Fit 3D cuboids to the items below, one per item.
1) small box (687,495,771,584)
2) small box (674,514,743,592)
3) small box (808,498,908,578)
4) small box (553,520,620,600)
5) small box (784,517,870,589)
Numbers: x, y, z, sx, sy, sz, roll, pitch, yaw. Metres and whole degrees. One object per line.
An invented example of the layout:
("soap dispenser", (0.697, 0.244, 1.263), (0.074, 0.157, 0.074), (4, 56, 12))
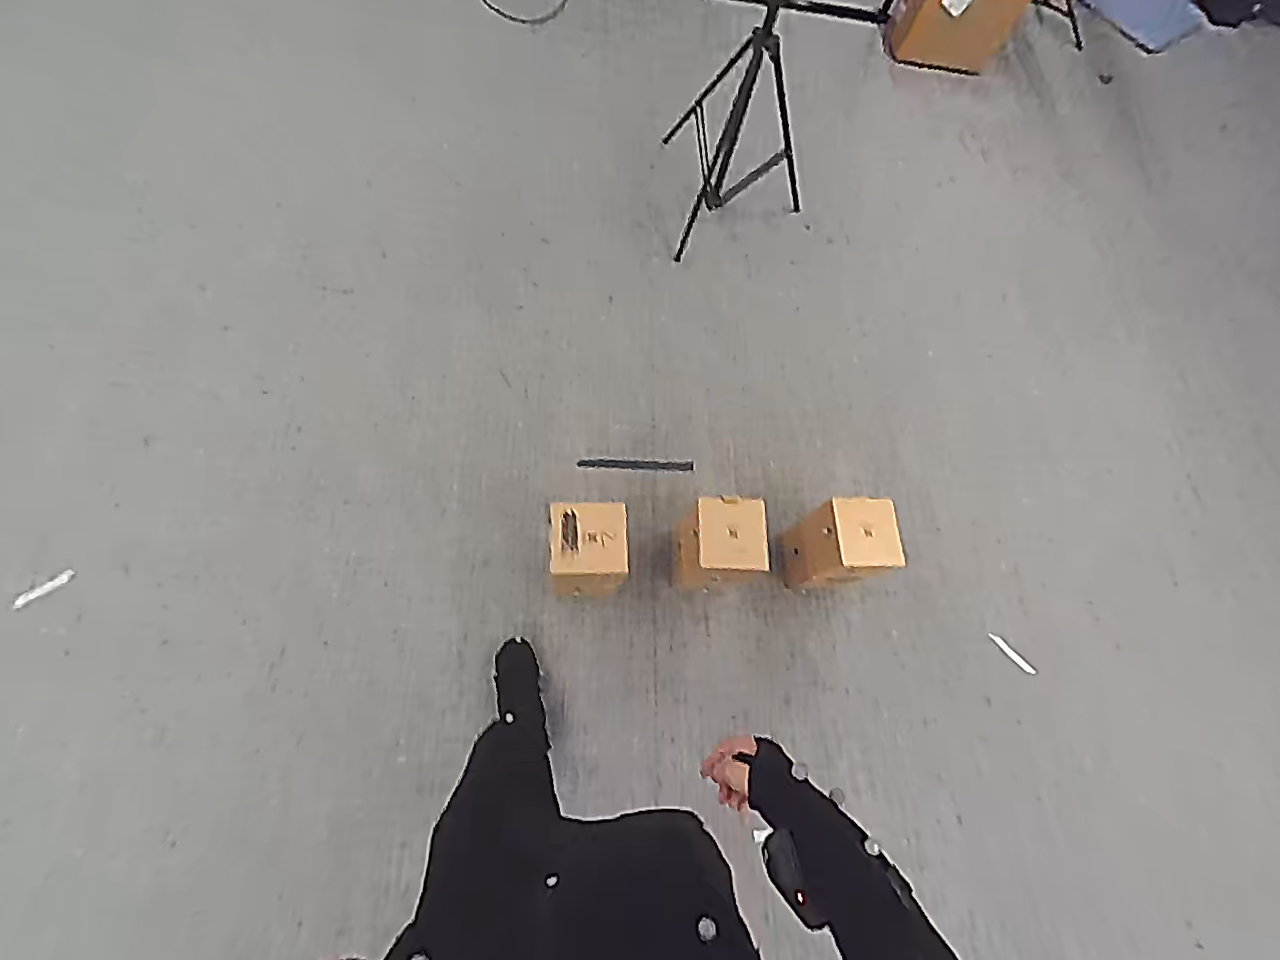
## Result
("small box", (0.213, 0.152, 1.340), (0.168, 0.176, 0.179), (3, 68, -7))
("small box", (0.189, 0.204, 1.494), (0.168, 0.176, 0.179), (4, 69, -7))
("small box", (0.552, 0.155, 1.393), (0.168, 0.176, 0.179), (1, 68, -8))
("small box", (-0.144, 0.217, 1.442), (0.168, 0.176, 0.179), (2, 68, -7))
("small box", (0.526, 0.213, 1.543), (0.168, 0.176, 0.179), (1, 68, -9))
